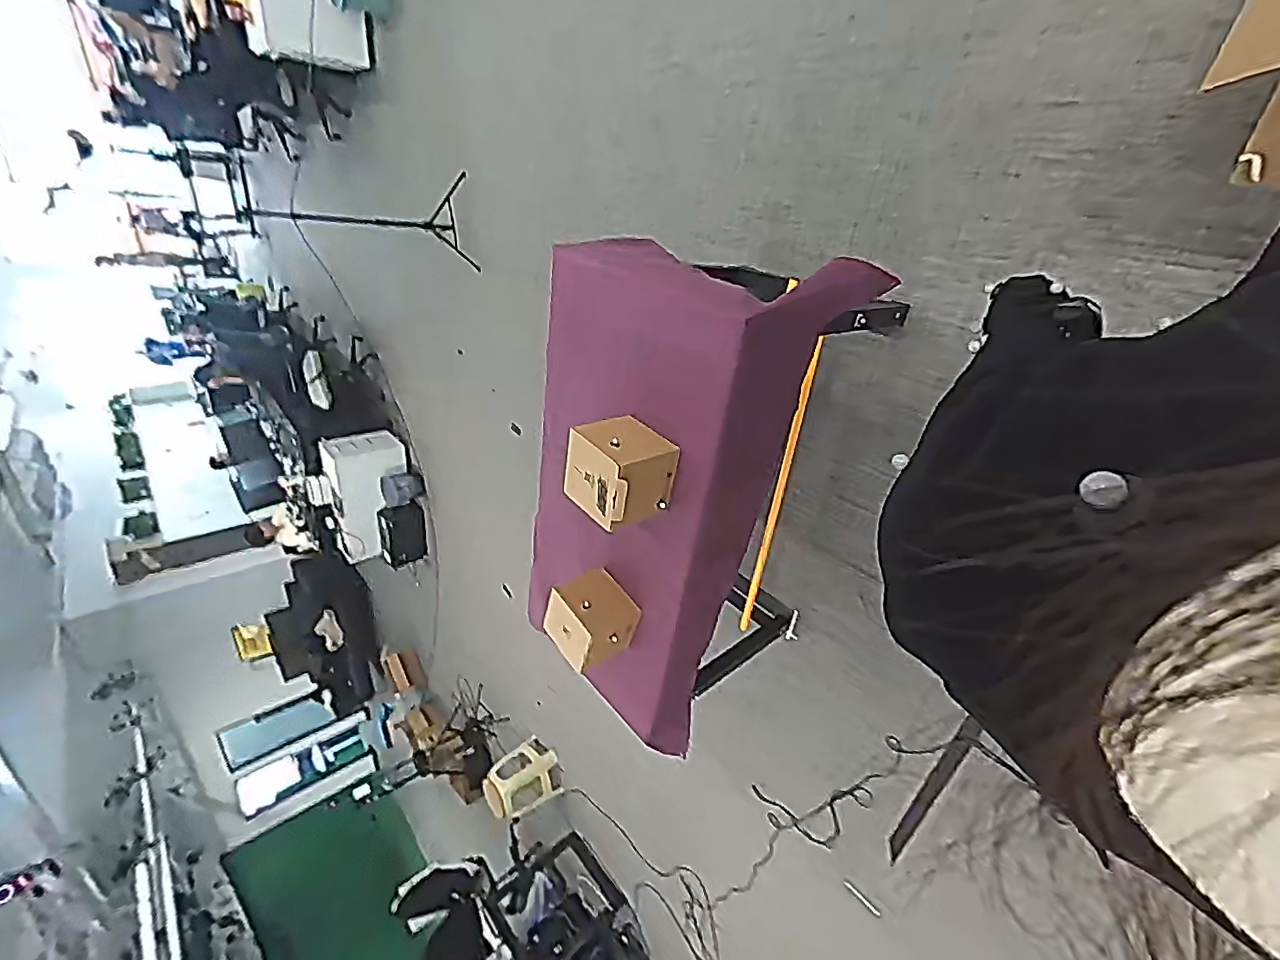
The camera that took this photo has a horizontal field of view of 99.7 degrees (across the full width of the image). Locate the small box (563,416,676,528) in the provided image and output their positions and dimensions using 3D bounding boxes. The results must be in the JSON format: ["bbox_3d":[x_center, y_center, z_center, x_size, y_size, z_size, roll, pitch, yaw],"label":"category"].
[{"bbox_3d":[-0.046,-0.027,1.179,0.179,0.176,0.168,38,130,36],"label":"small box"}]

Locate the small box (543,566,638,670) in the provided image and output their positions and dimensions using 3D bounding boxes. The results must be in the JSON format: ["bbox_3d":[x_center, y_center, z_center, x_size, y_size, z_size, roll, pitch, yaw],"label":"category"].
[{"bbox_3d":[-0.130,0.358,1.426,0.179,0.176,0.168,44,133,30],"label":"small box"}]
